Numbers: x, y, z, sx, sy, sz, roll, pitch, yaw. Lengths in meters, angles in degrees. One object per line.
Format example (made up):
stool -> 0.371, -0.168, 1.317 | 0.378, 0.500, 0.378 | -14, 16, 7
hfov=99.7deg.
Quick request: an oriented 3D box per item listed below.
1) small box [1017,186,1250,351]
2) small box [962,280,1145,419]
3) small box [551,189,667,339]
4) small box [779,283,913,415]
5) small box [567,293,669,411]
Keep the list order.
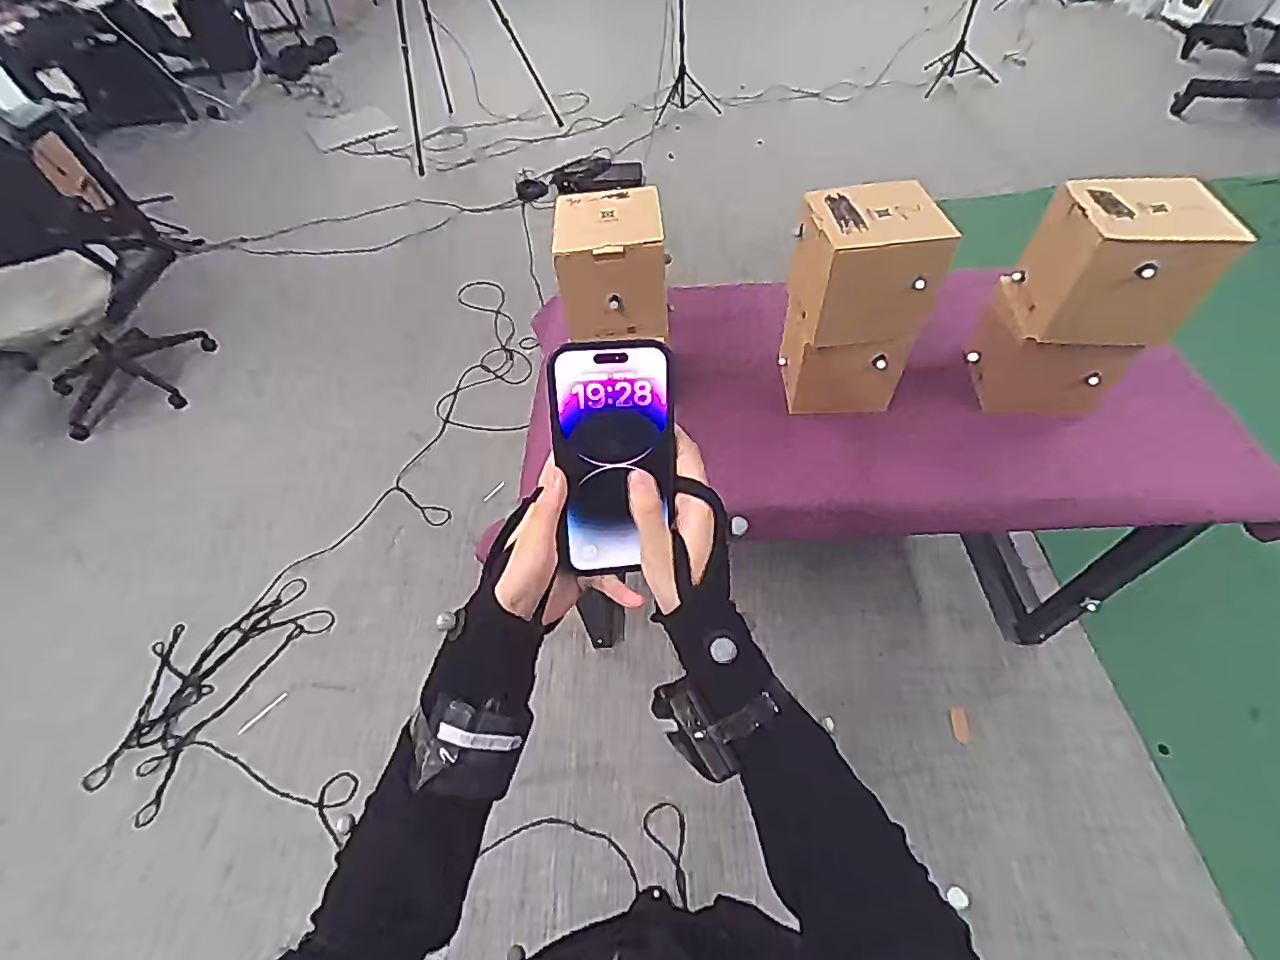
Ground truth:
small box -> 0.690, -0.306, 0.791 | 0.179, 0.176, 0.168 | 5, 54, 8
small box -> 0.694, -0.221, 0.932 | 0.179, 0.176, 0.168 | 5, 54, 9
small box -> -0.044, -0.348, 0.893 | 0.168, 0.176, 0.179 | -4, 54, 2
small box -> 0.356, -0.231, 0.970 | 0.179, 0.176, 0.168 | 0, 53, 5
small box -> -0.032, -0.244, 1.019 | 0.168, 0.176, 0.179 | 0, 53, 6
